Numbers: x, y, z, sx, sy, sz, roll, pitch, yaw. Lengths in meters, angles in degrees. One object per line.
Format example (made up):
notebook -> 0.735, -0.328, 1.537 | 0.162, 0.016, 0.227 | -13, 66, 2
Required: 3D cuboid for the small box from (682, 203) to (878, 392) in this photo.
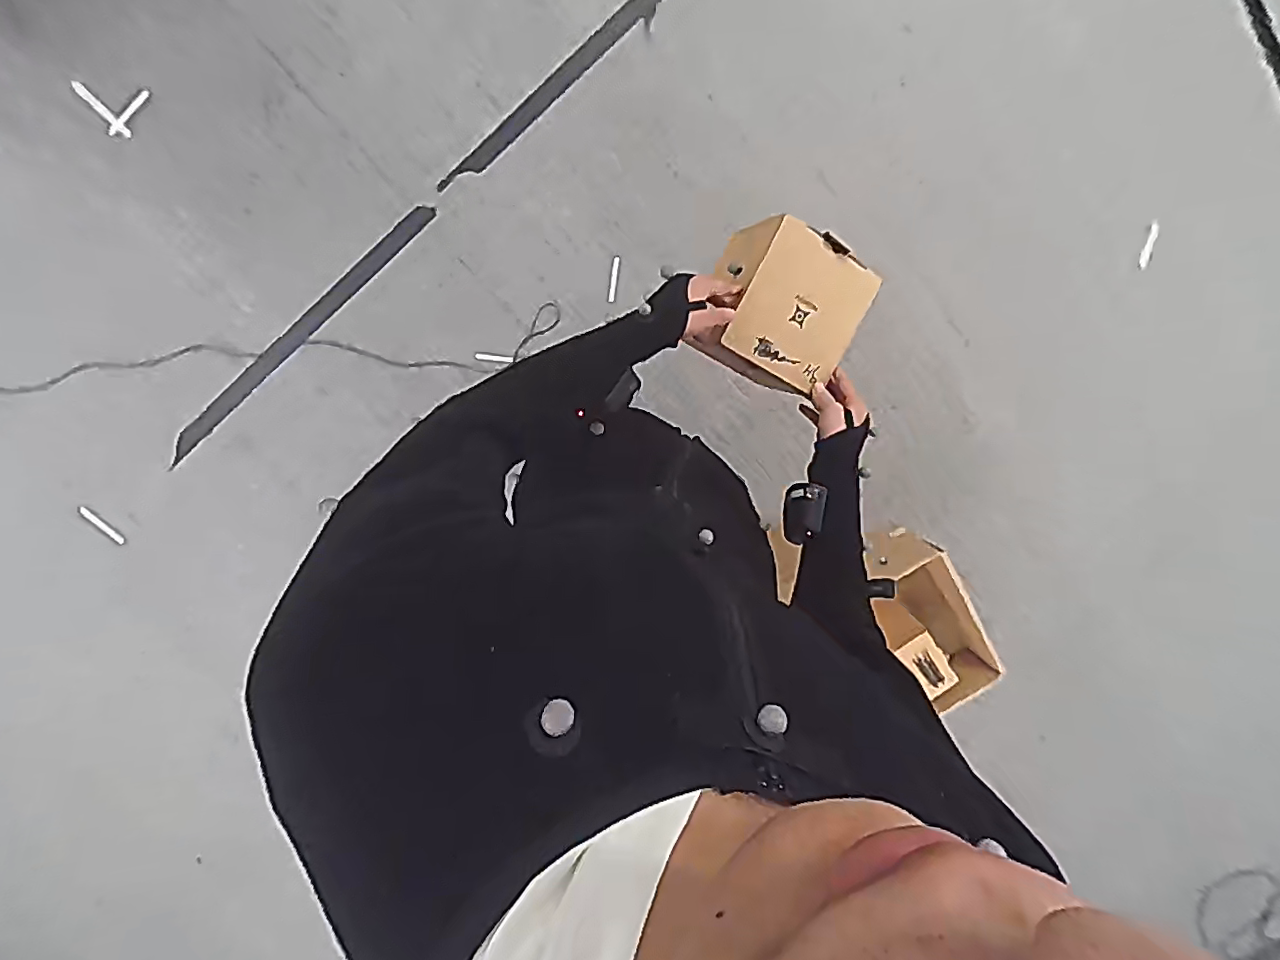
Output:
small box -> 0.181, -0.243, 0.753 | 0.168, 0.176, 0.179 | 25, 98, -19
